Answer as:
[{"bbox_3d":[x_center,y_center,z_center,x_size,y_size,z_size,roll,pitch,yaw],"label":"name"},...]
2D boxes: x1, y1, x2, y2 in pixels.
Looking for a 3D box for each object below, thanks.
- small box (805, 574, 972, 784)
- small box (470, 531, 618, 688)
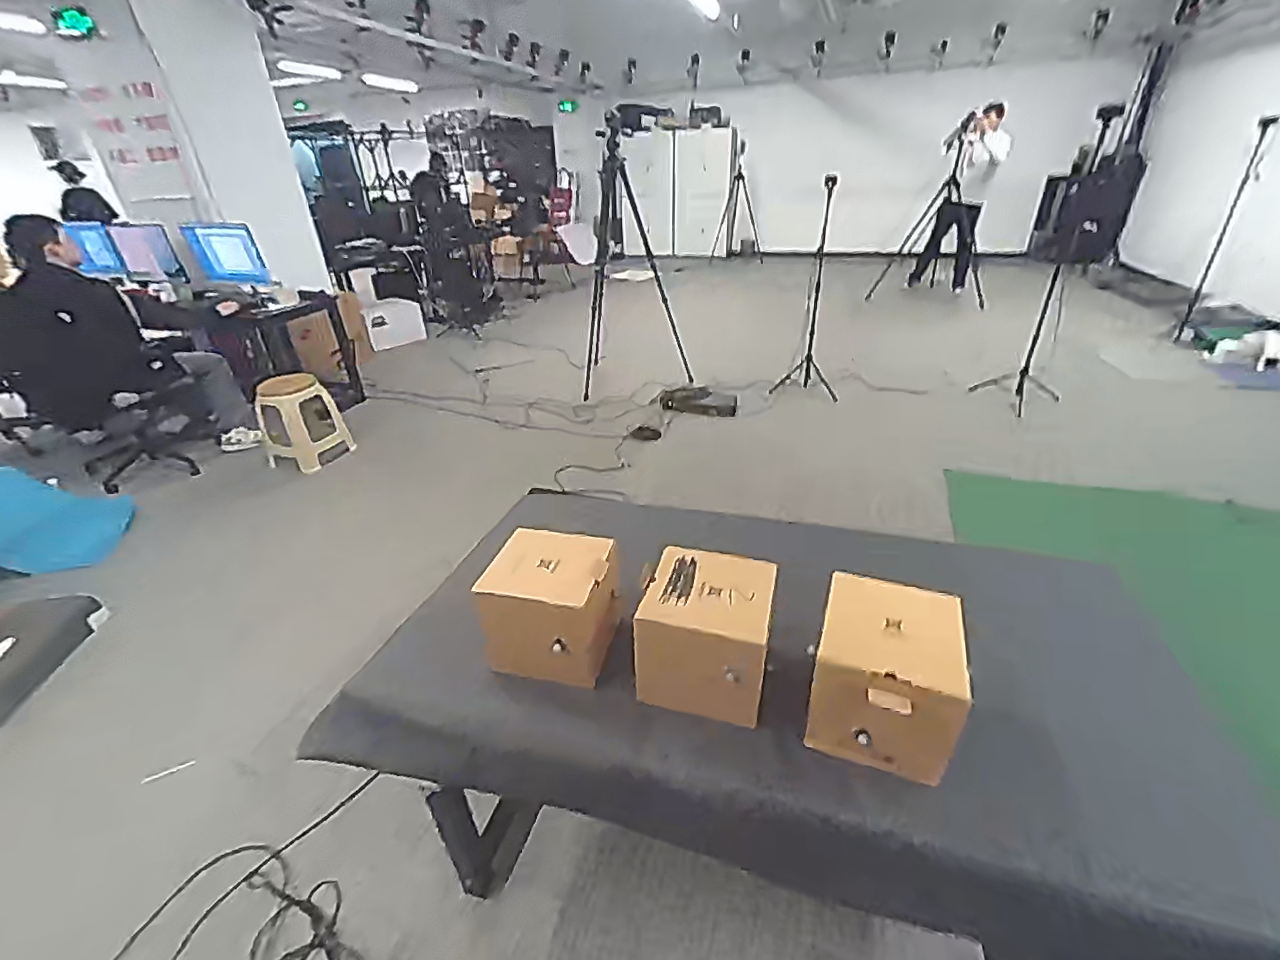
[{"bbox_3d":[0.325,0.261,0.730,0.168,0.176,0.179,11,32,20],"label":"small box"},{"bbox_3d":[-0.139,0.203,0.860,0.179,0.176,0.168,5,29,13],"label":"small box"}]
